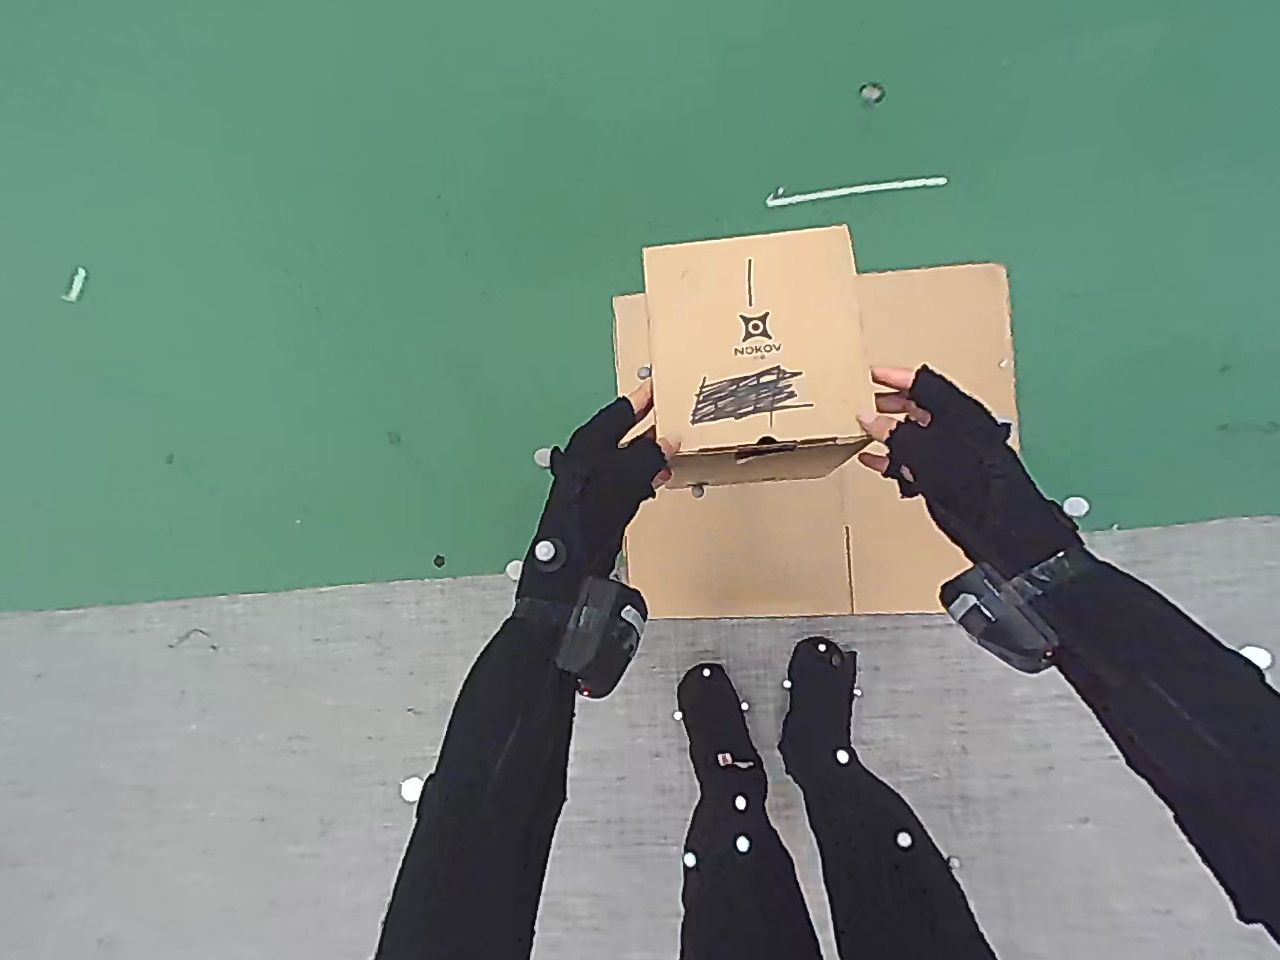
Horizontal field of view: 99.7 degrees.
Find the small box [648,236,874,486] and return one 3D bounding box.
[{"bbox_3d":[0.100,-0.093,0.505,0.168,0.176,0.179,-4,79,5],"label":"small box"}]
